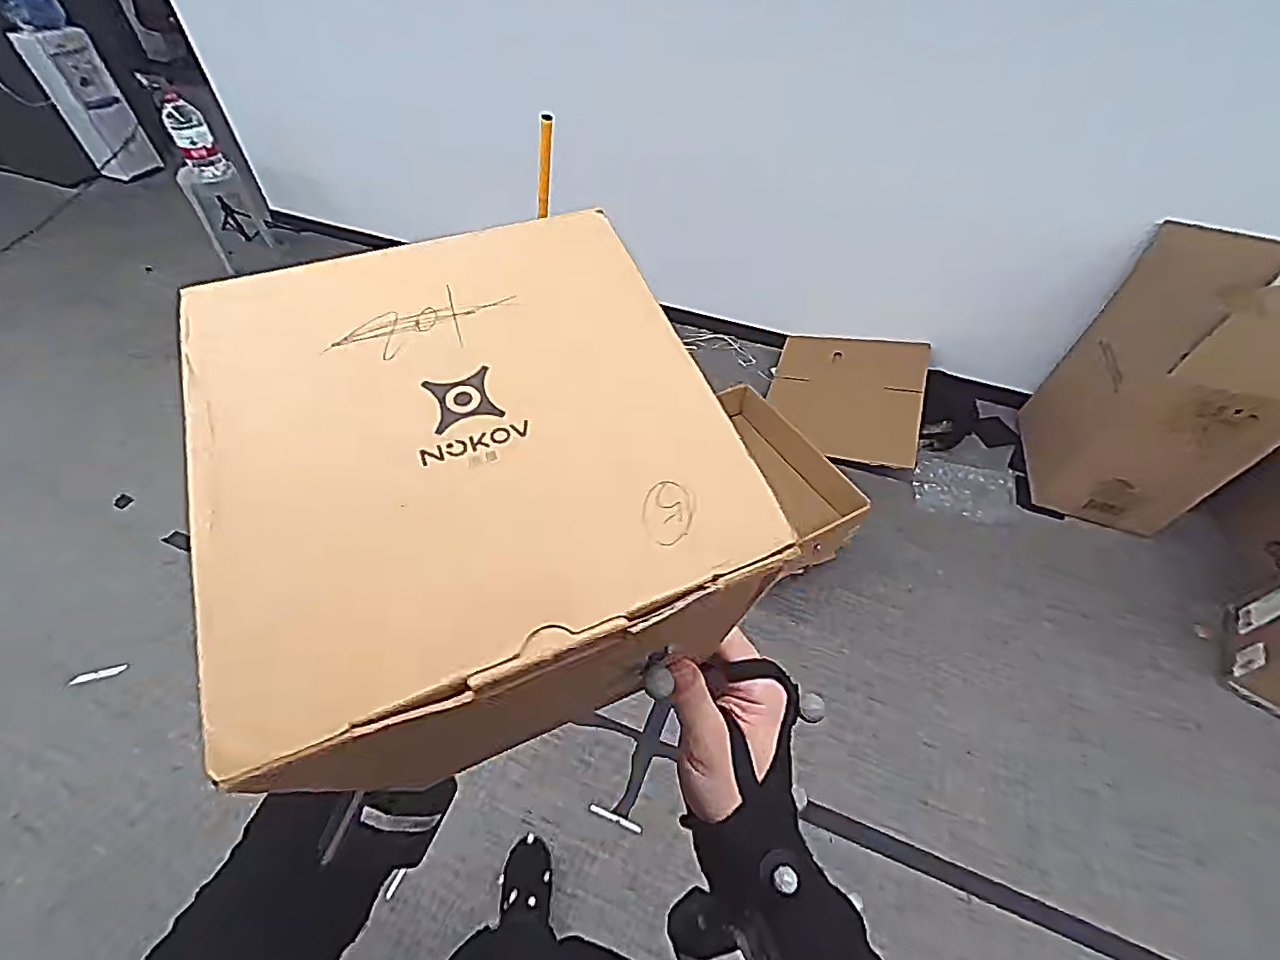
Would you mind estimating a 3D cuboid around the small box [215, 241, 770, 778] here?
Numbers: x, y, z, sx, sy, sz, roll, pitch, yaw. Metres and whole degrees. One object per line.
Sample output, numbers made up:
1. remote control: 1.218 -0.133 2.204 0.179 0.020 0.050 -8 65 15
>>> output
1. small box: -0.066 0.022 0.266 0.168 0.176 0.179 -18 63 -15
